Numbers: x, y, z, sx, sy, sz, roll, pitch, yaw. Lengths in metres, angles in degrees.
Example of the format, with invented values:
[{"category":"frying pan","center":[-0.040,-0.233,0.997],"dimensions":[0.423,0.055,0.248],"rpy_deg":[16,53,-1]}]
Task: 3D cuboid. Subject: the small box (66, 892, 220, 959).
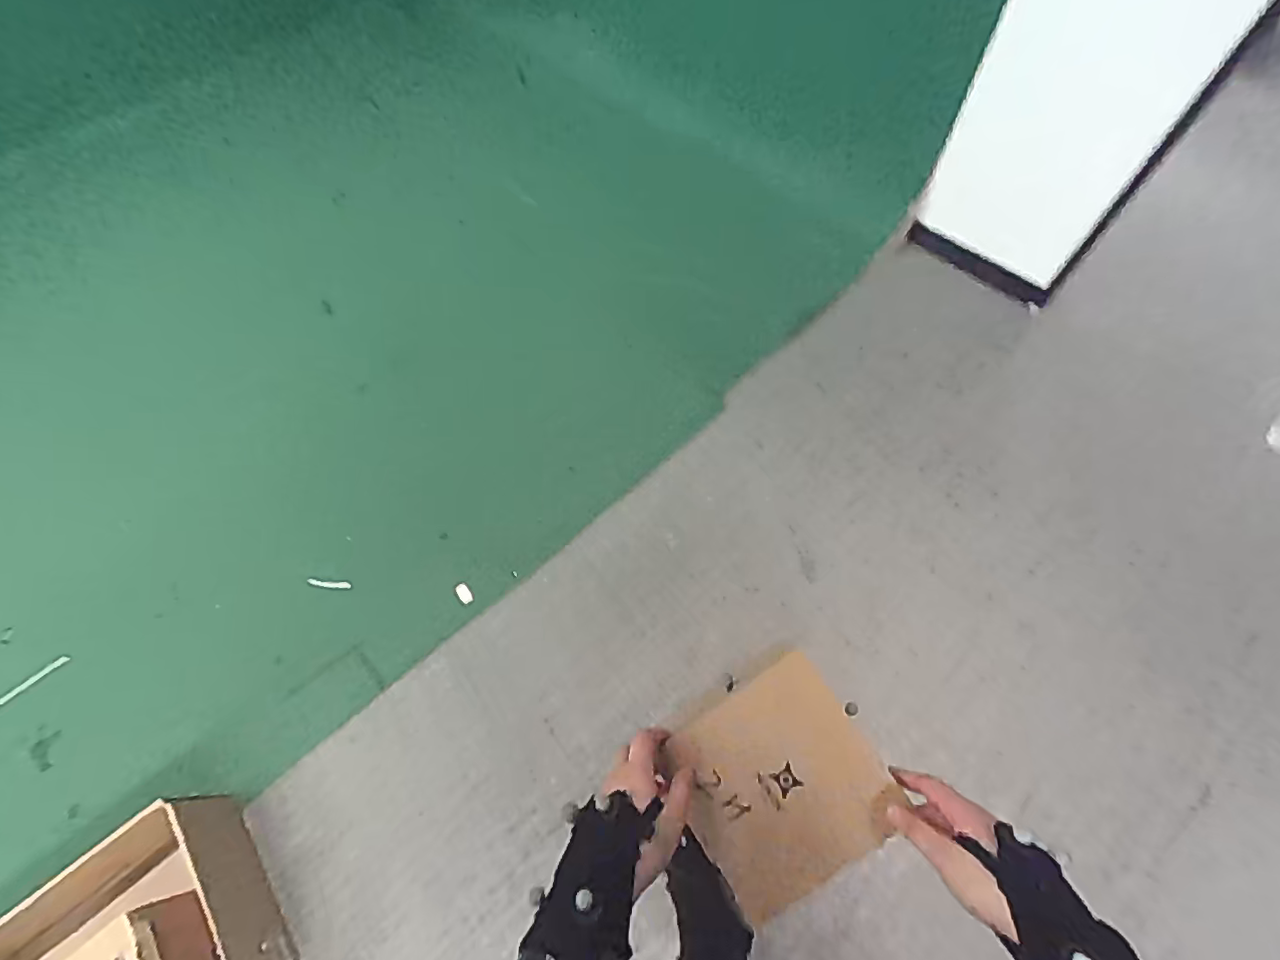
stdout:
[{"category":"small box","center":[-0.915,0.901,0.981],"dimensions":[0.179,0.176,0.168],"rpy_deg":[-39,68,-13]}]
